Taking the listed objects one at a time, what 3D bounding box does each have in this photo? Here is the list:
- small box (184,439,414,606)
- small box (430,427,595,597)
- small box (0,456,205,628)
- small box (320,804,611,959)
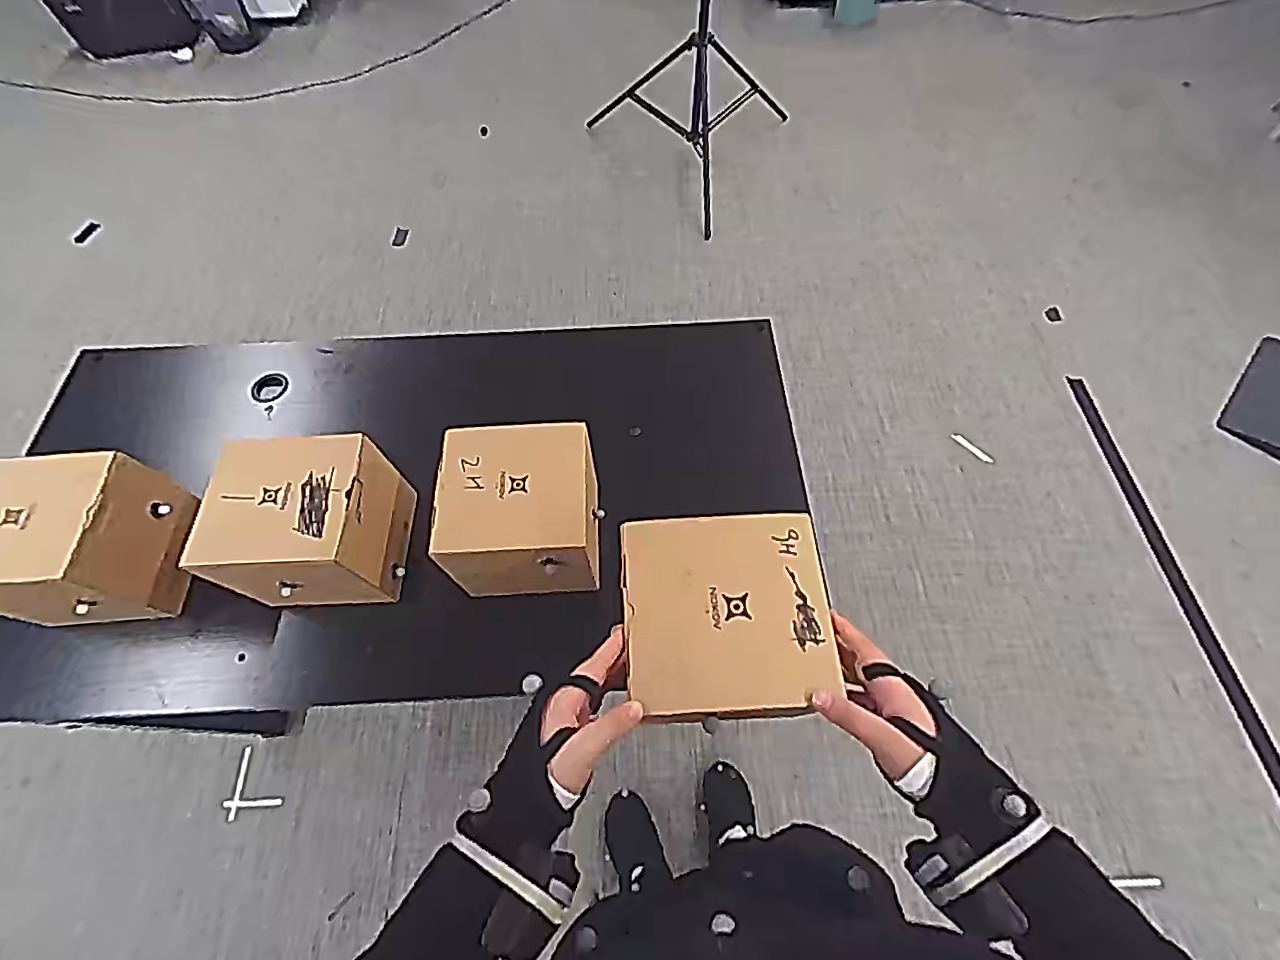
[{"bbox_3d":[-0.418,0.061,0.703,0.179,0.176,0.168,-3,62,1],"label":"small box"},{"bbox_3d":[-0.149,0.047,0.703,0.179,0.176,0.168,-4,61,-1],"label":"small box"},{"bbox_3d":[-0.712,0.086,0.698,0.179,0.176,0.168,-5,61,-1],"label":"small box"},{"bbox_3d":[-0.113,0.336,0.362,0.168,0.176,0.179,5,45,-13],"label":"small box"}]
